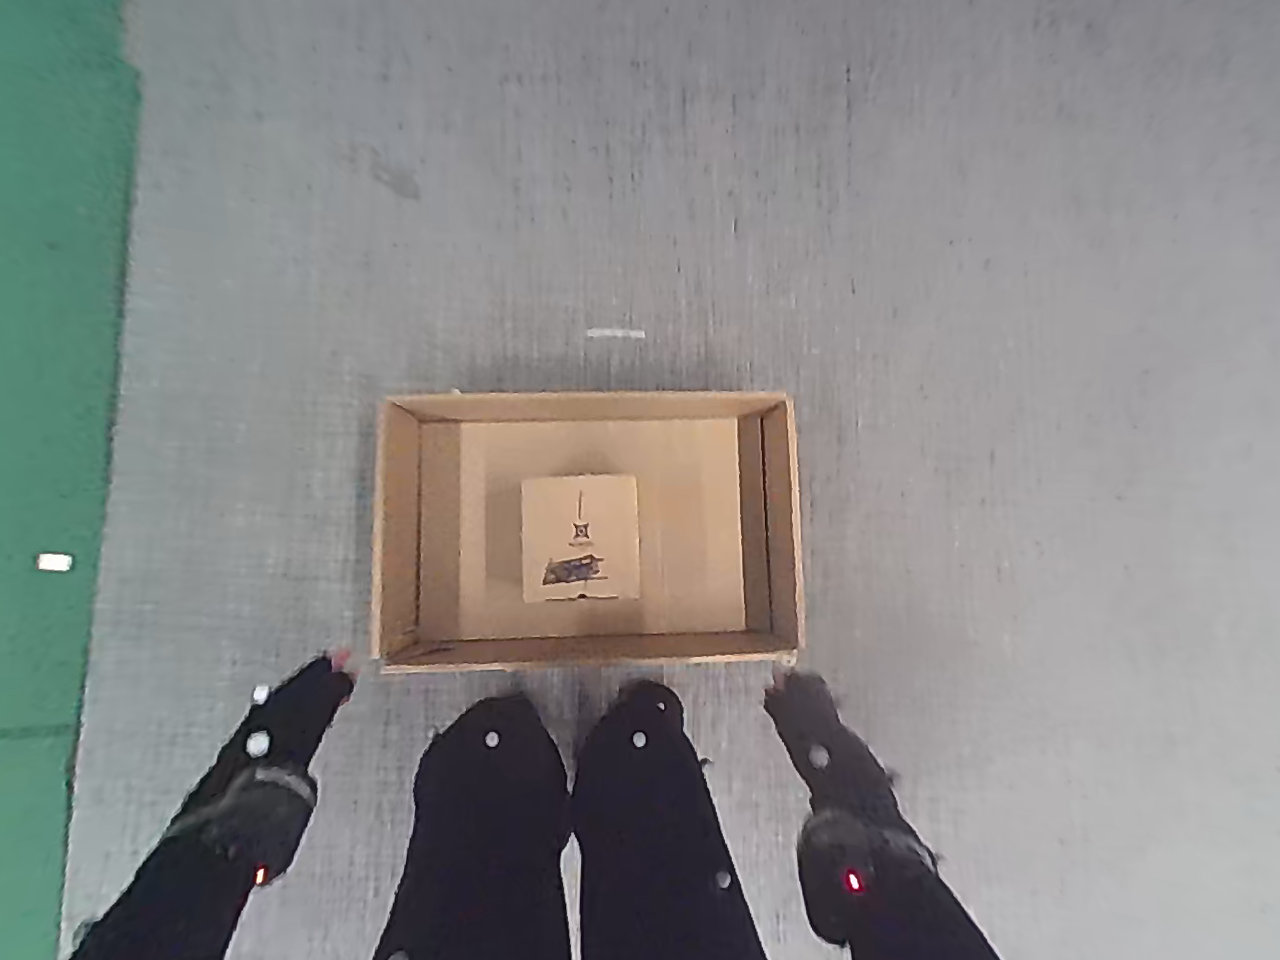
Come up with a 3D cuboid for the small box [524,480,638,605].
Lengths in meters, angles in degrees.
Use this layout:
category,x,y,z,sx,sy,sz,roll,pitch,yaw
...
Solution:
category,x,y,z,sx,sy,sz,roll,pitch,yaw
small box,-0.086,0.095,0.851,0.168,0.176,0.179,-2,84,-3
